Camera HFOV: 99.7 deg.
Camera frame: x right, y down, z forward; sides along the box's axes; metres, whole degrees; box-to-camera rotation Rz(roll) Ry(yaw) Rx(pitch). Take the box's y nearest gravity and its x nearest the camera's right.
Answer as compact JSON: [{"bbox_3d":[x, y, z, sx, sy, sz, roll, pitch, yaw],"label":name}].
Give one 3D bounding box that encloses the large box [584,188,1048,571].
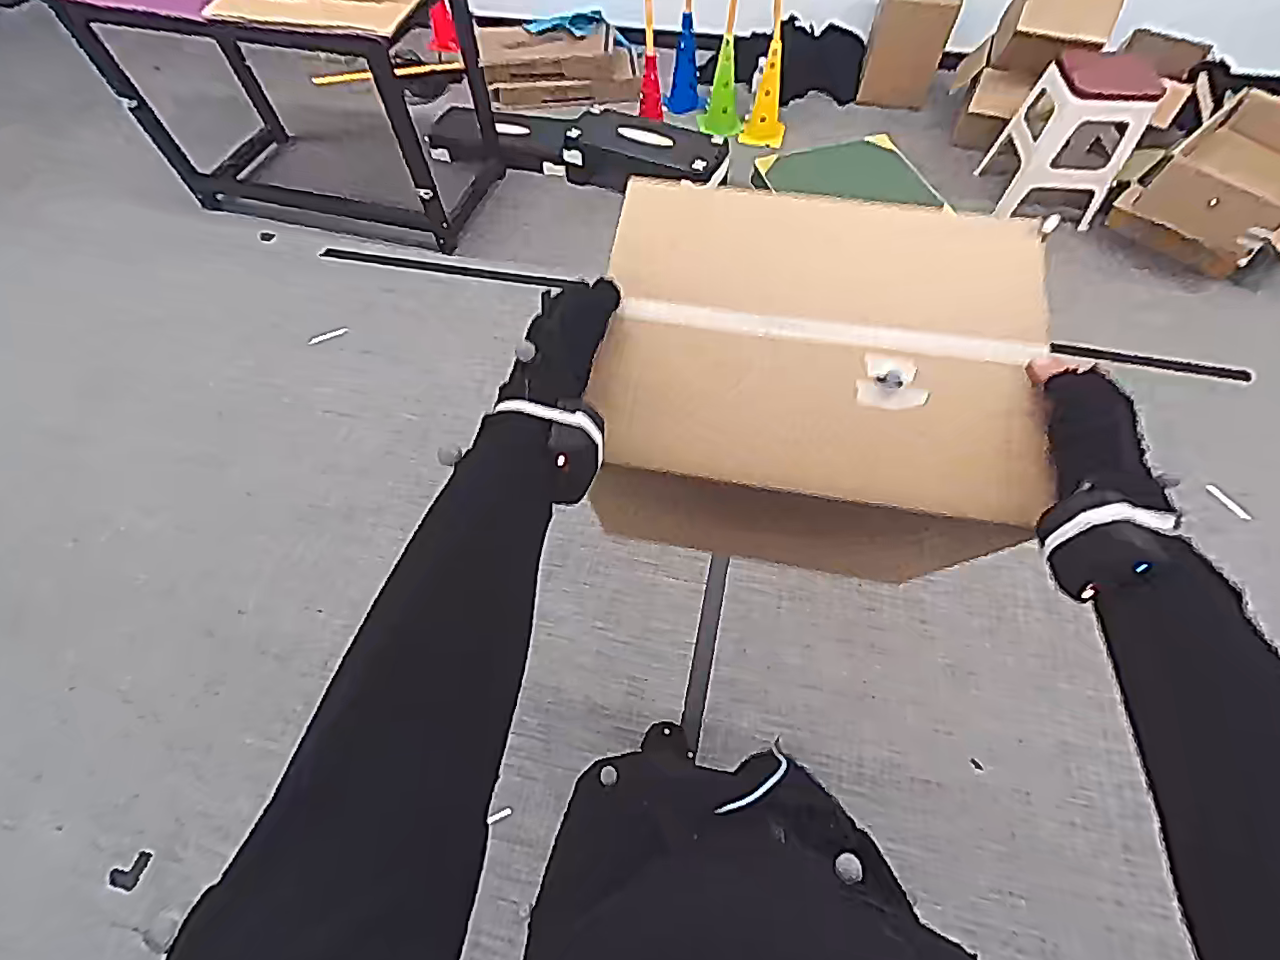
[{"bbox_3d":[0.174,-0.093,0.649,0.408,0.320,0.320,9,74,6],"label":"large box"}]
